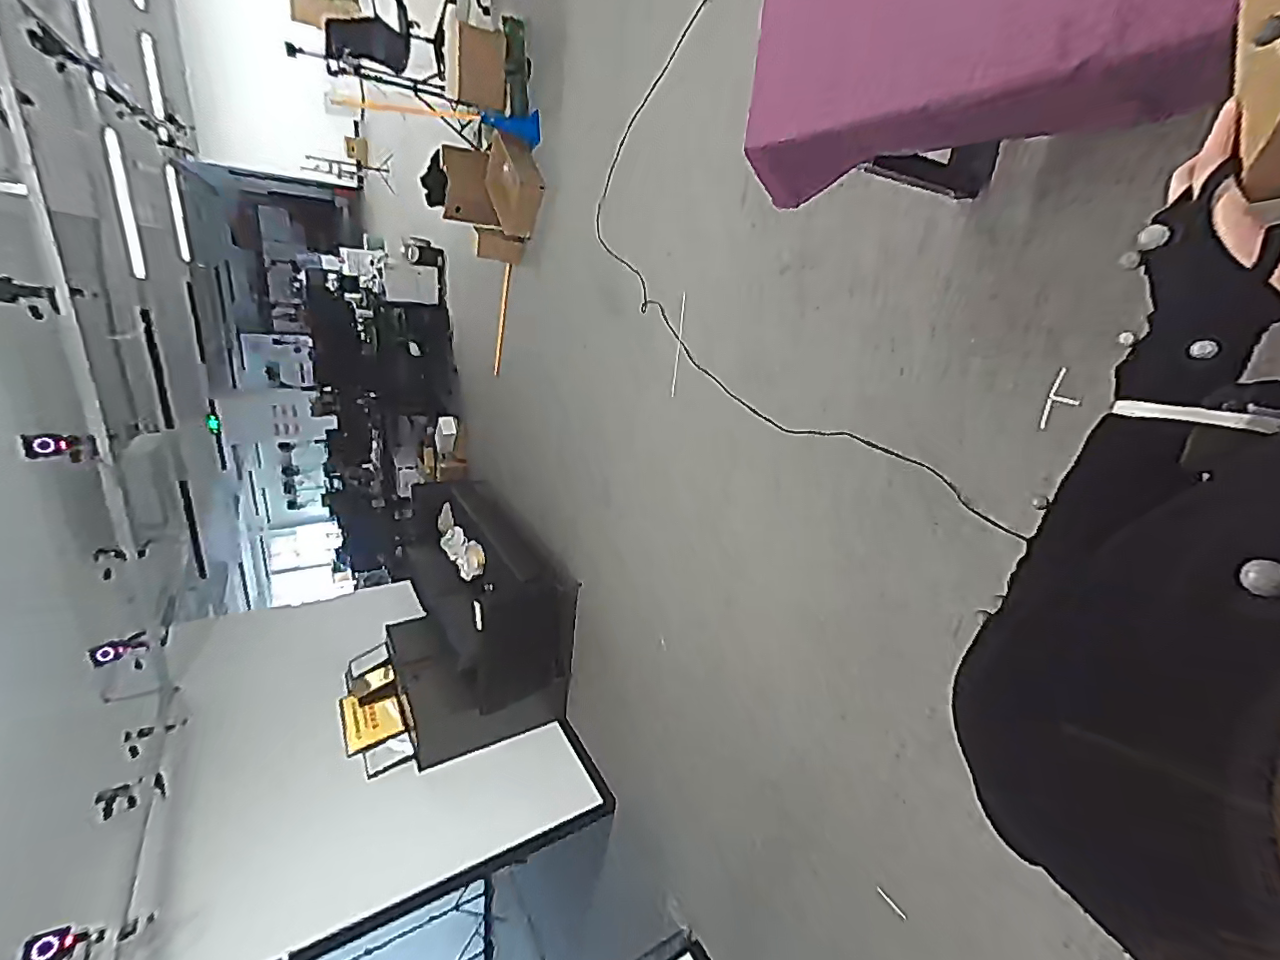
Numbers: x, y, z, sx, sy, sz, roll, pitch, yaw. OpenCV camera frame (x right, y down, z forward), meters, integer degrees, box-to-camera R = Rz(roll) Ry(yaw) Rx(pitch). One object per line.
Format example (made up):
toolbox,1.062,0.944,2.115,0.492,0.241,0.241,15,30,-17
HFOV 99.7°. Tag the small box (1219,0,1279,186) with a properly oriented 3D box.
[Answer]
small box,0.410,-0.276,0.243,0.168,0.179,0.176,7,88,34
